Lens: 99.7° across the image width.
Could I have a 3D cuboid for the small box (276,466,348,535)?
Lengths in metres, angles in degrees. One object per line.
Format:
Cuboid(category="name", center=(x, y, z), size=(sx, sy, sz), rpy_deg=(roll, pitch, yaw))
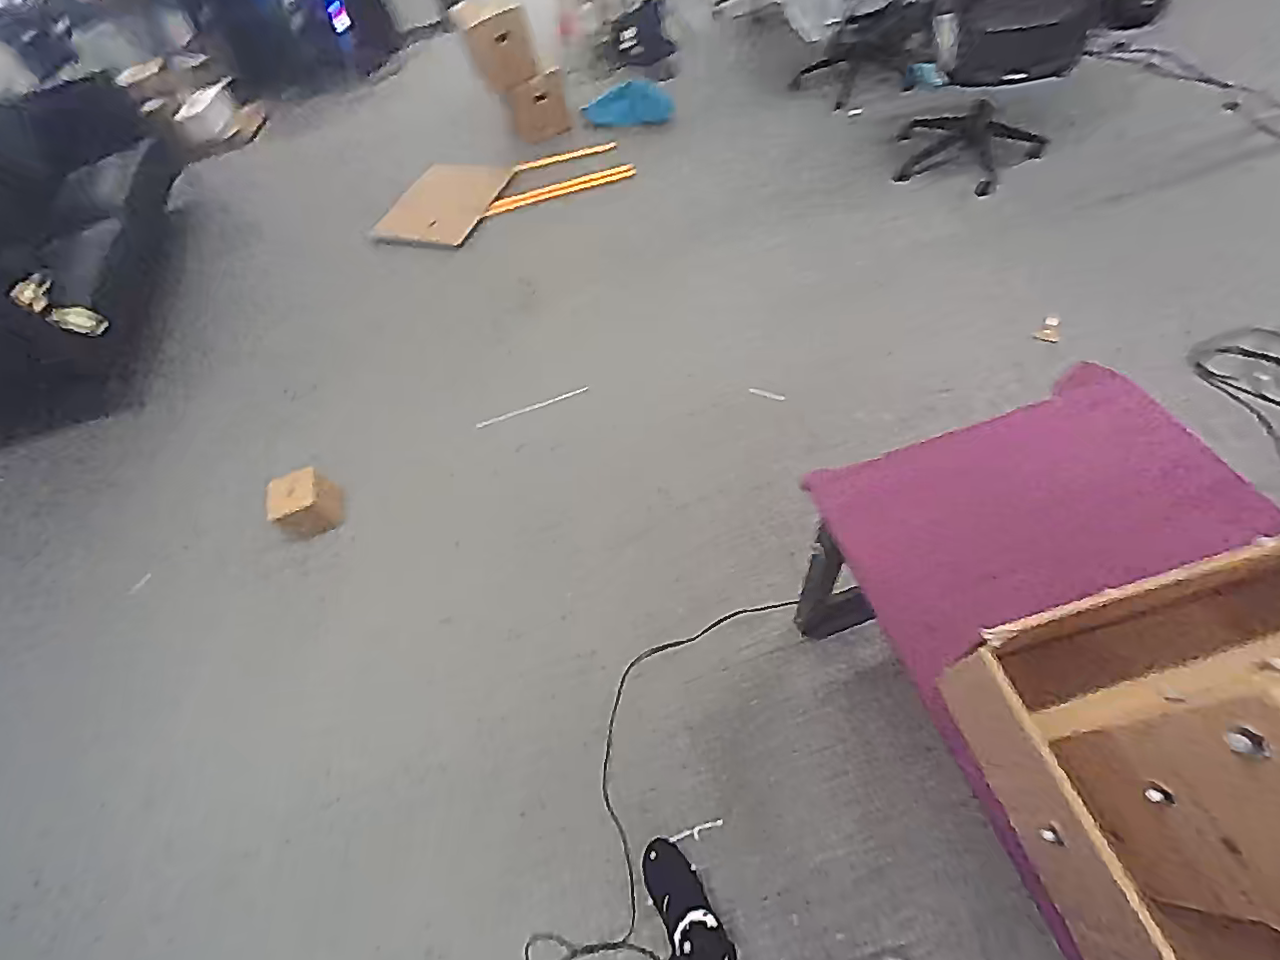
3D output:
Cuboid(category="small box", center=(-1.192, 0.083, 1.974), size=(0.168, 0.176, 0.179), rpy_deg=(-21, 56, -4))
